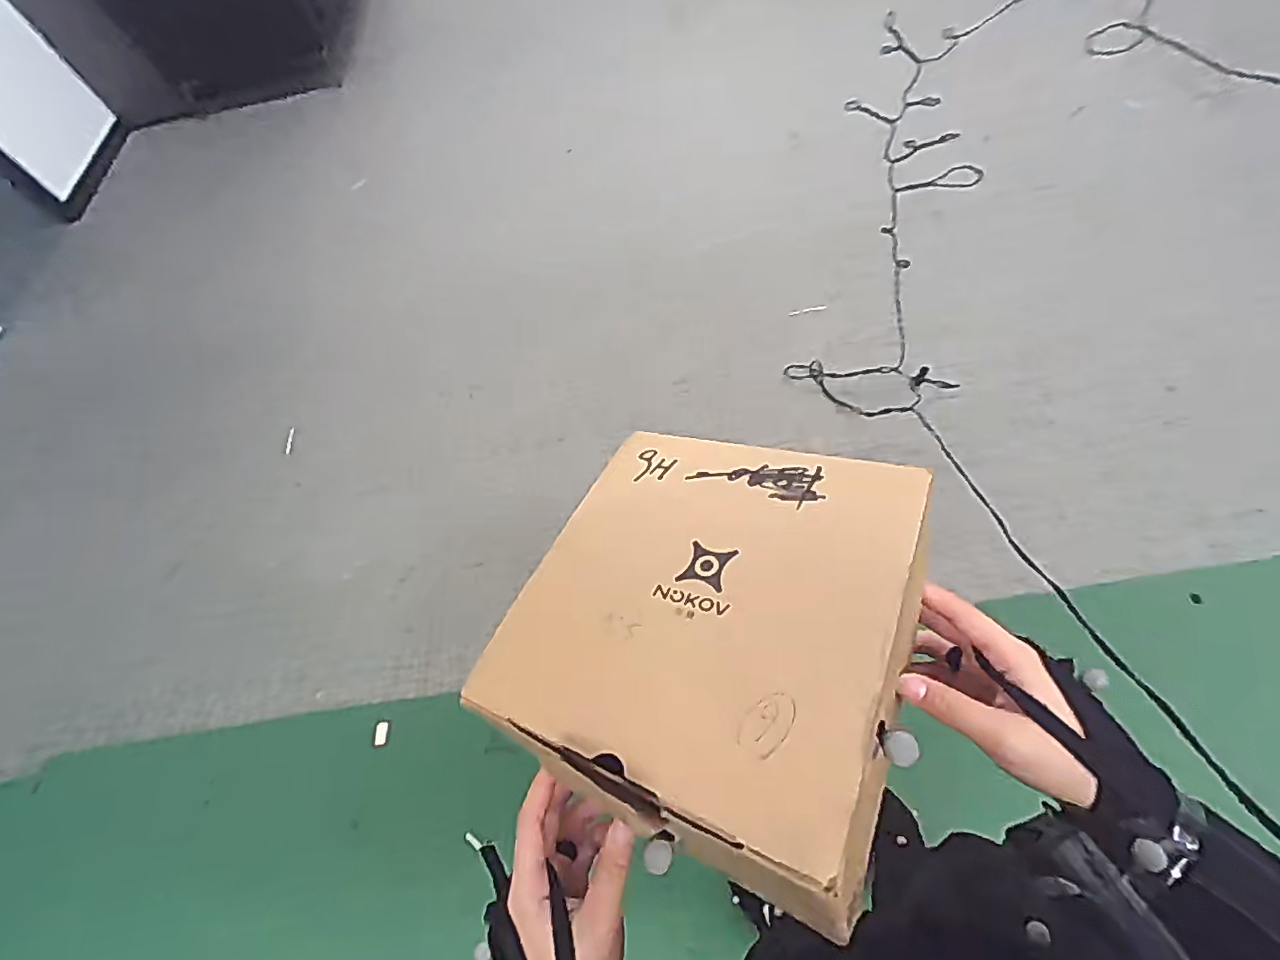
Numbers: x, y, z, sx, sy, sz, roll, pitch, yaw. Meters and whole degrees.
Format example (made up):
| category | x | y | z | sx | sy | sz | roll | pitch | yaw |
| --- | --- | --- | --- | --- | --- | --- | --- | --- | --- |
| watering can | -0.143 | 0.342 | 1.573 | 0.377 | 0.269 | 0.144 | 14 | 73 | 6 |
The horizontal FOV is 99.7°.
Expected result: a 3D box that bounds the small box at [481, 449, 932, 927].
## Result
| category | x | y | z | sx | sy | sz | roll | pitch | yaw |
| --- | --- | --- | --- | --- | --- | --- | --- | --- | --- |
| small box | 0.055 | 0.110 | 0.306 | 0.168 | 0.176 | 0.179 | 11 | 54 | 30 |
